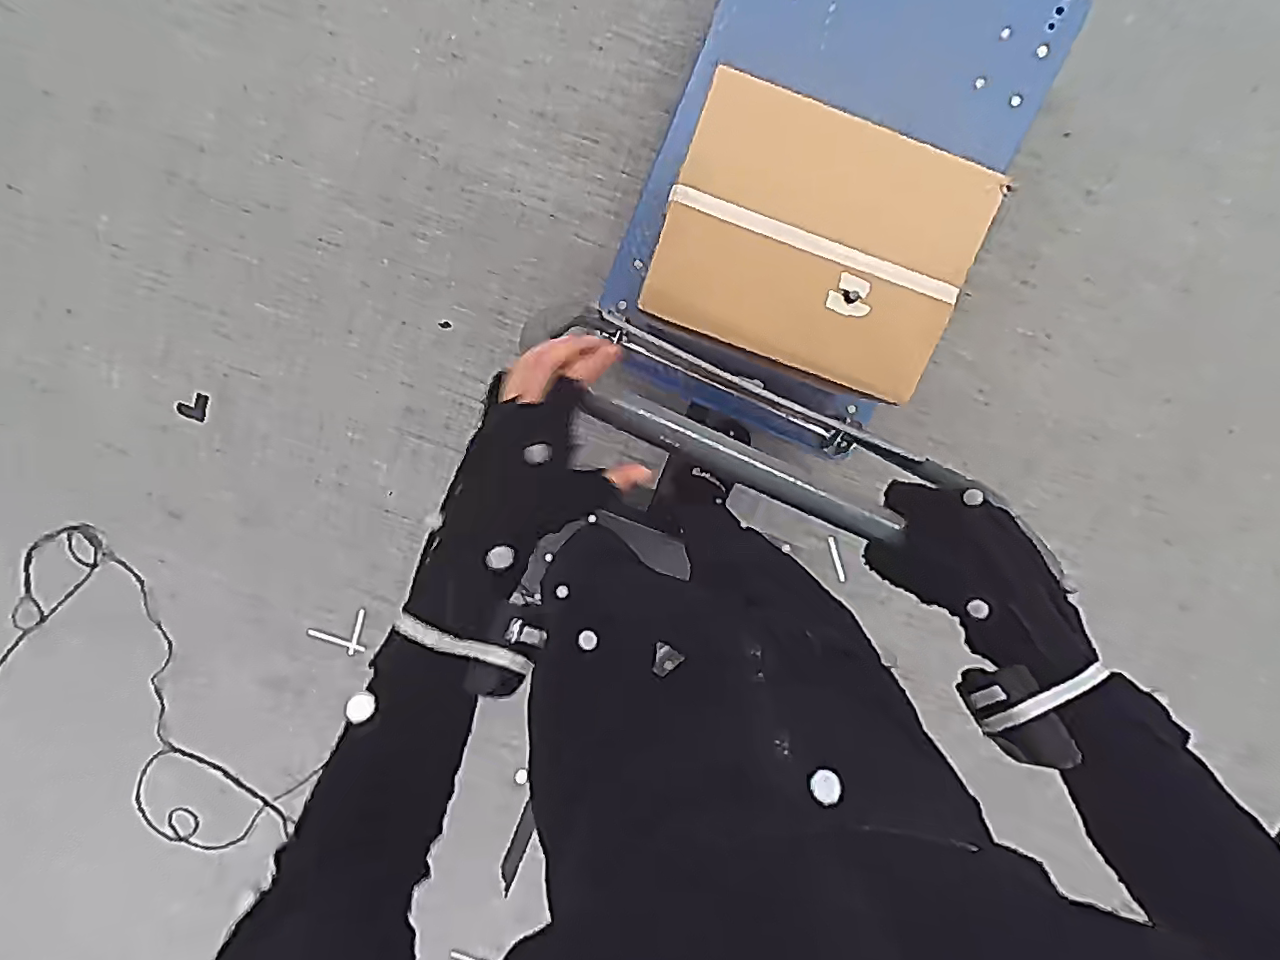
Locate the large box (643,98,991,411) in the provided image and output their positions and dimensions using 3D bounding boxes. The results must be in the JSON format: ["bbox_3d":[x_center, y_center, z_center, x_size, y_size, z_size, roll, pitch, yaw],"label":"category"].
[{"bbox_3d":[0.238,-0.331,0.889,0.408,0.320,0.320,19,103,-3],"label":"large box"}]
